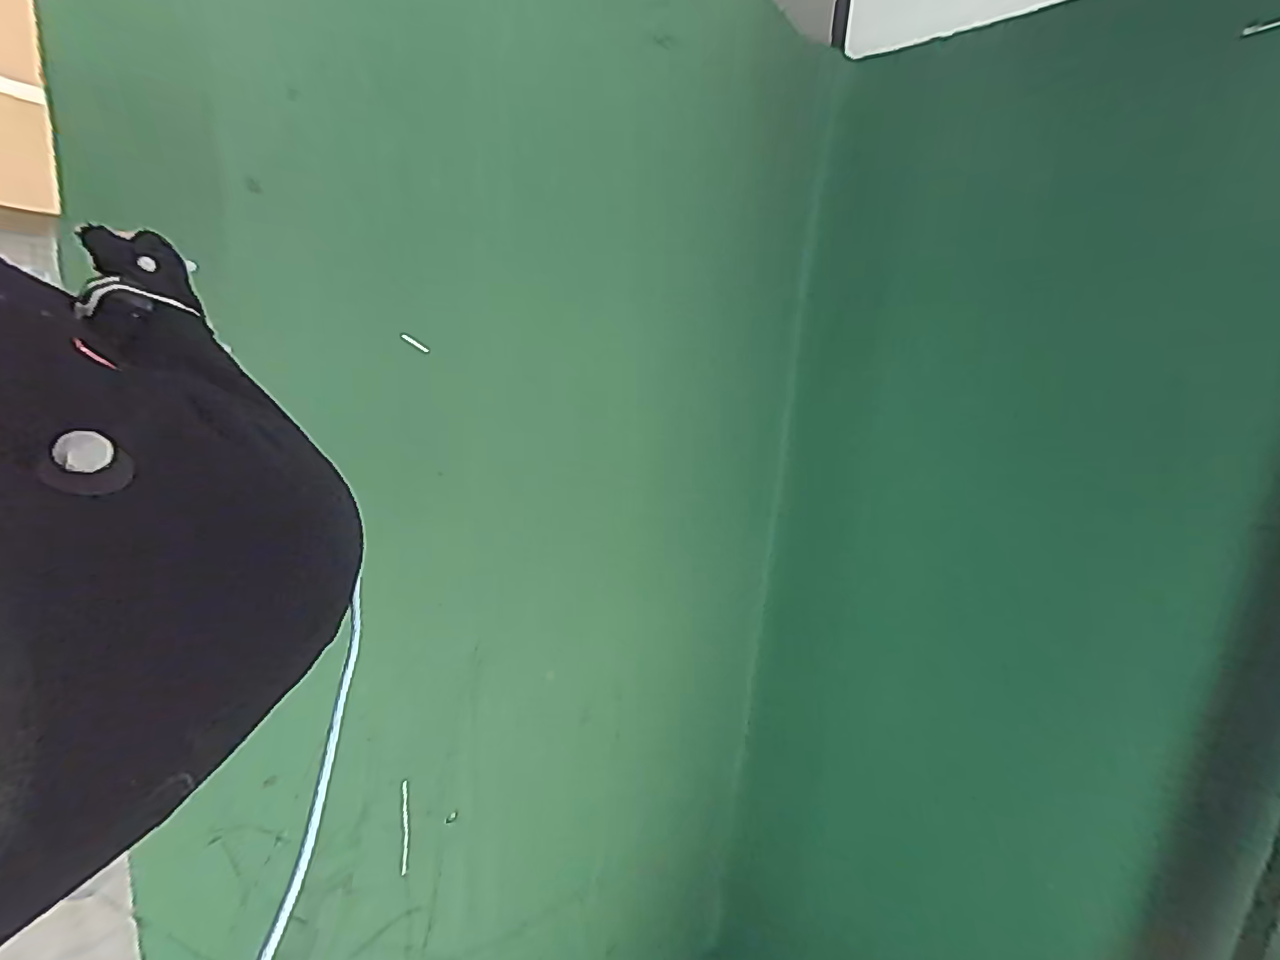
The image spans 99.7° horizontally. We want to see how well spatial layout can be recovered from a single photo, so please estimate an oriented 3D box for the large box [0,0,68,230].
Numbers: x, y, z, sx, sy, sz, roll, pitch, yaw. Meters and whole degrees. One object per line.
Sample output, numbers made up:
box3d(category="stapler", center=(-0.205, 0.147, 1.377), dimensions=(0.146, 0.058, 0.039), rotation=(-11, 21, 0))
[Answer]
box3d(category="large box", center=(-1.087, -0.555, 0.717), dimensions=(0.408, 0.320, 0.320), rotation=(-10, 108, -50))
